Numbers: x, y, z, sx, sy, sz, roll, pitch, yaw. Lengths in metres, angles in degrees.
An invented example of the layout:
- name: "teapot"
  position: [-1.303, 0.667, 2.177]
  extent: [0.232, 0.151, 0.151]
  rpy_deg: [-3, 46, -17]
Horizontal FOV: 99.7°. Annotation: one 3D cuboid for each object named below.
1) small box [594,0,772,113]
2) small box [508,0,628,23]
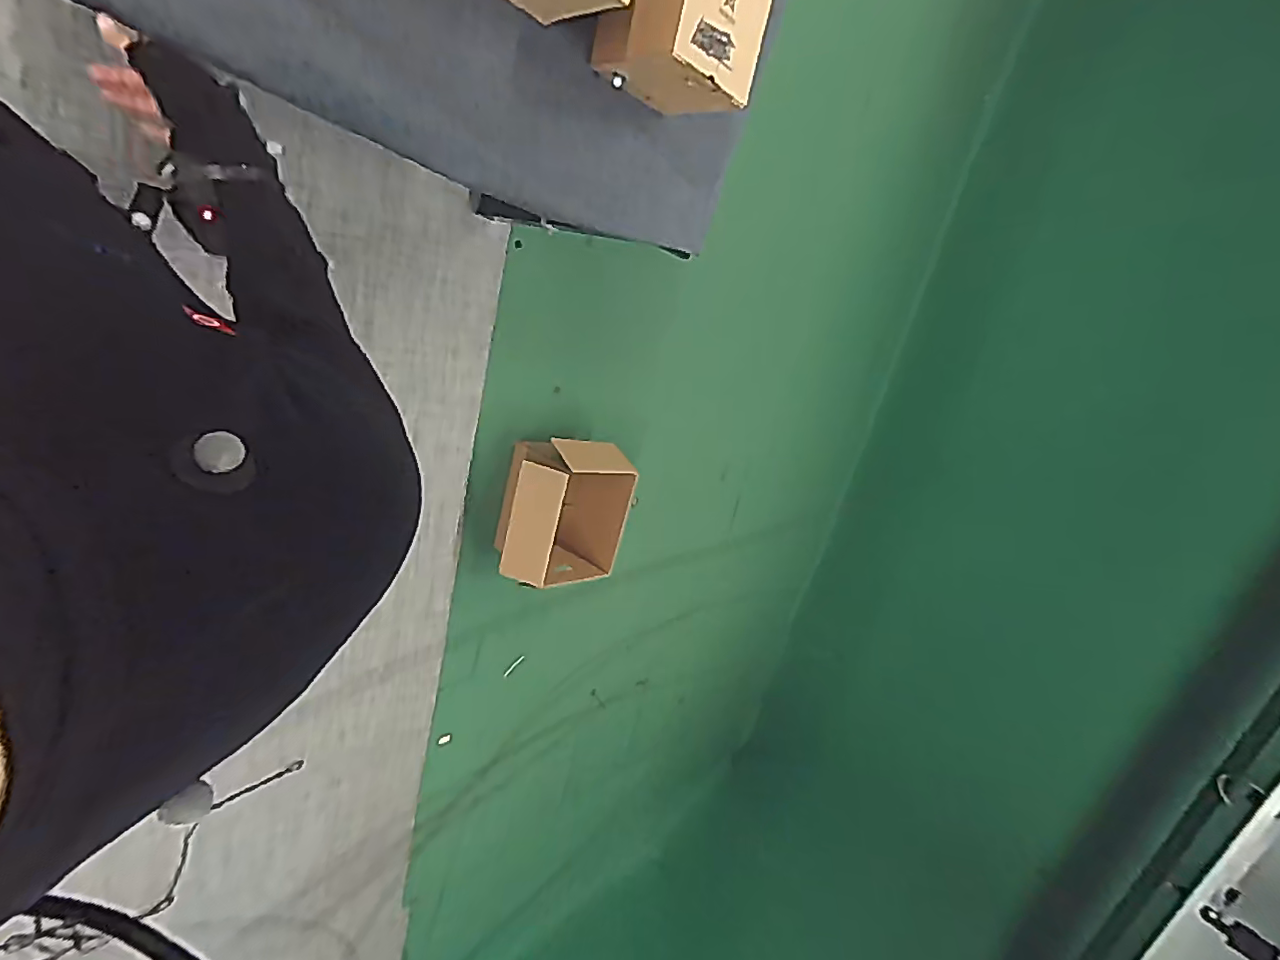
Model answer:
- name: "small box"
  position: [0.057, -0.640, 0.751]
  extent: [0.168, 0.176, 0.179]
  rpy_deg: [-6, 115, -47]
- name: "small box"
  position: [-0.107, -0.634, 0.575]
  extent: [0.168, 0.176, 0.179]
  rpy_deg: [-5, 115, -47]
